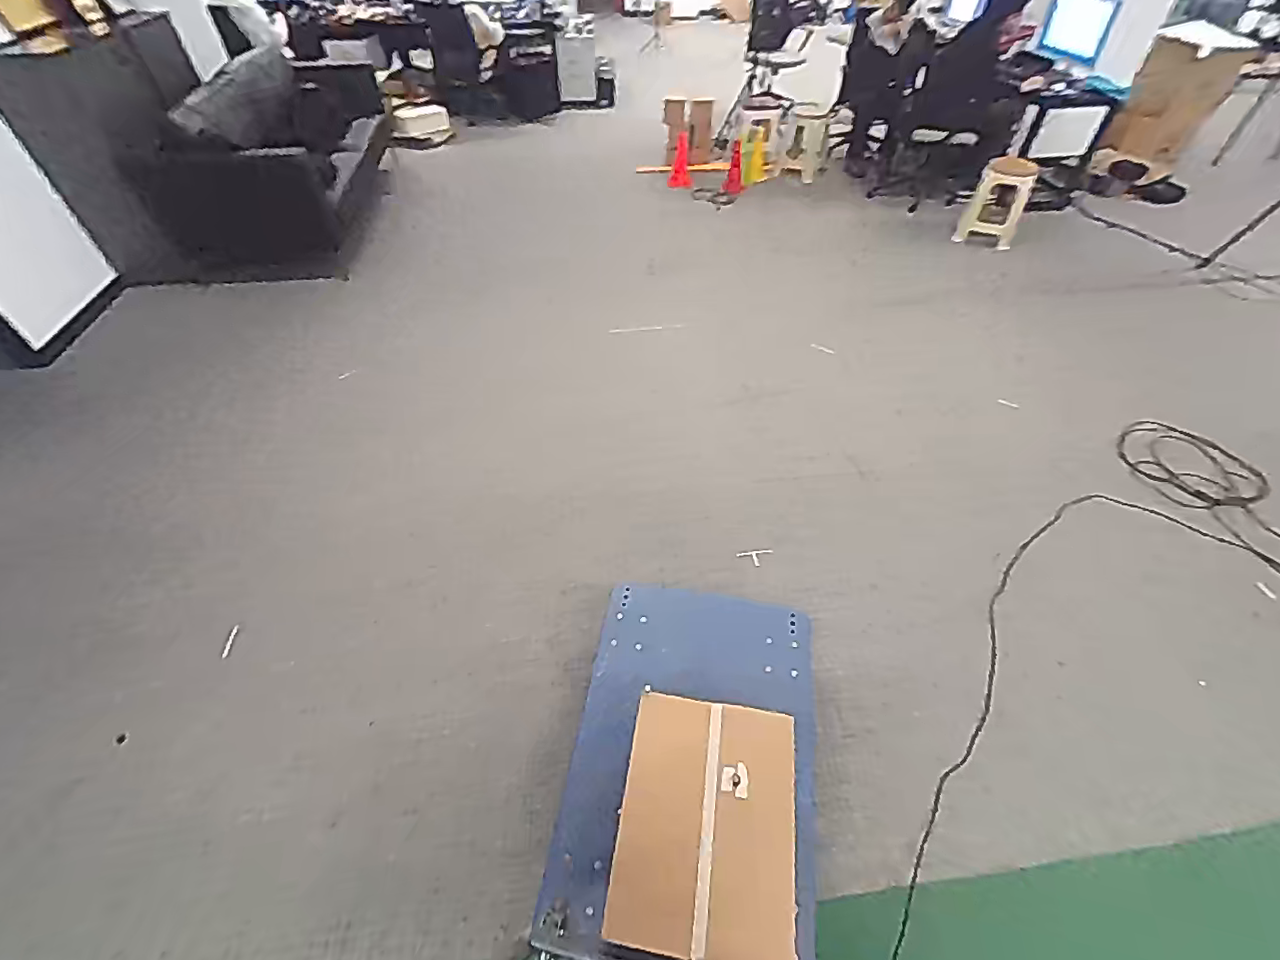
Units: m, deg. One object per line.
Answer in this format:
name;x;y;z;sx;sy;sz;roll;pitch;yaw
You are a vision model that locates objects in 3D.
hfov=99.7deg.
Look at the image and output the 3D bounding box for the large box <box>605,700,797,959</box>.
large box;0.122;0.719;1.093;0.320;0.320;0.408;7;49;6
